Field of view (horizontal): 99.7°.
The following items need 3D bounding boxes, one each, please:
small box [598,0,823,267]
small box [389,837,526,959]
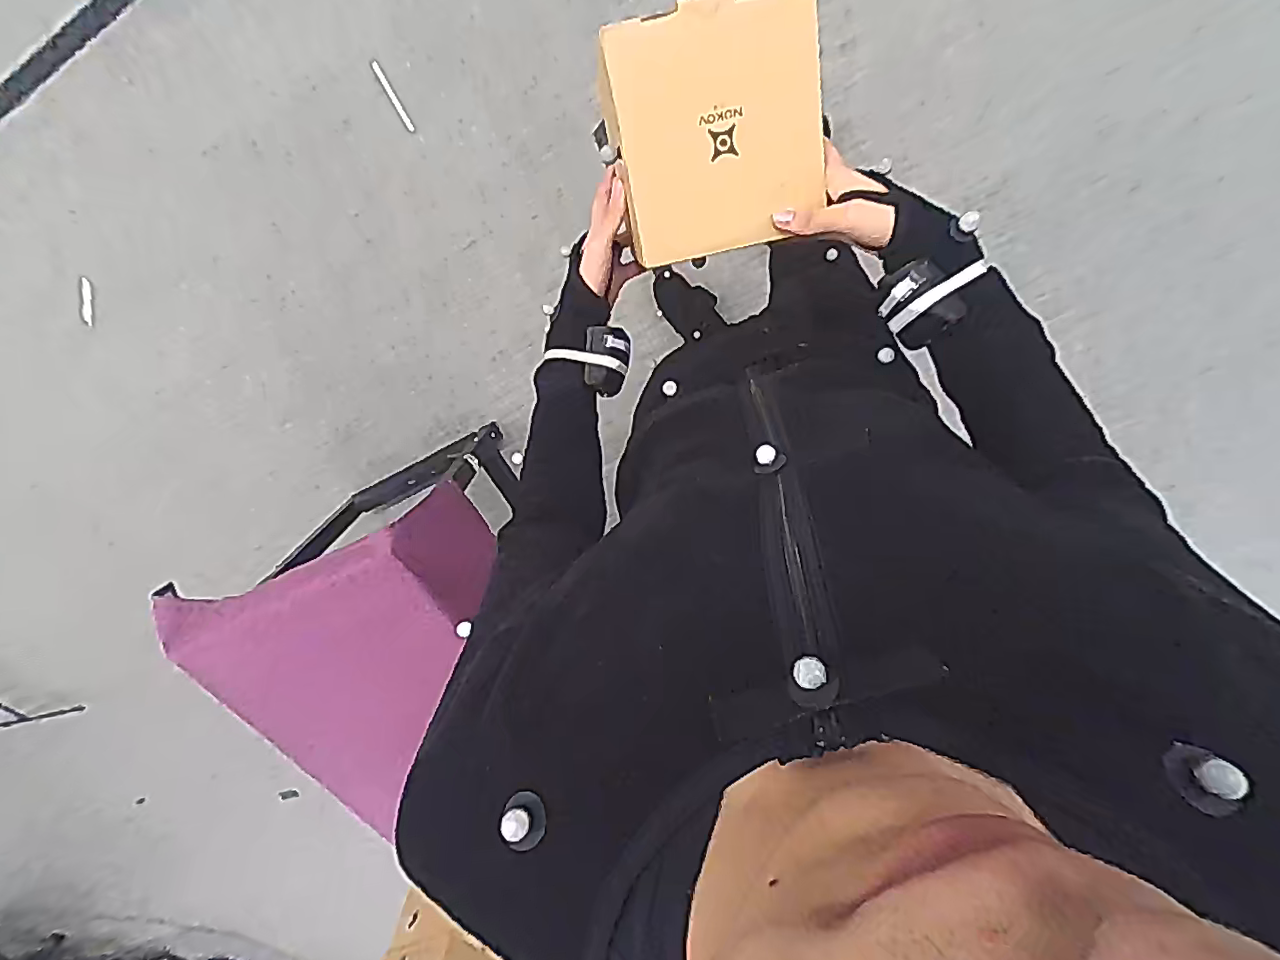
[{"bbox_3d":[0.059,-0.314,0.511,0.168,0.176,0.179,-13,115,1],"label":"small box"},{"bbox_3d":[-0.355,0.865,1.090,0.179,0.176,0.168,-29,113,15],"label":"small box"}]
